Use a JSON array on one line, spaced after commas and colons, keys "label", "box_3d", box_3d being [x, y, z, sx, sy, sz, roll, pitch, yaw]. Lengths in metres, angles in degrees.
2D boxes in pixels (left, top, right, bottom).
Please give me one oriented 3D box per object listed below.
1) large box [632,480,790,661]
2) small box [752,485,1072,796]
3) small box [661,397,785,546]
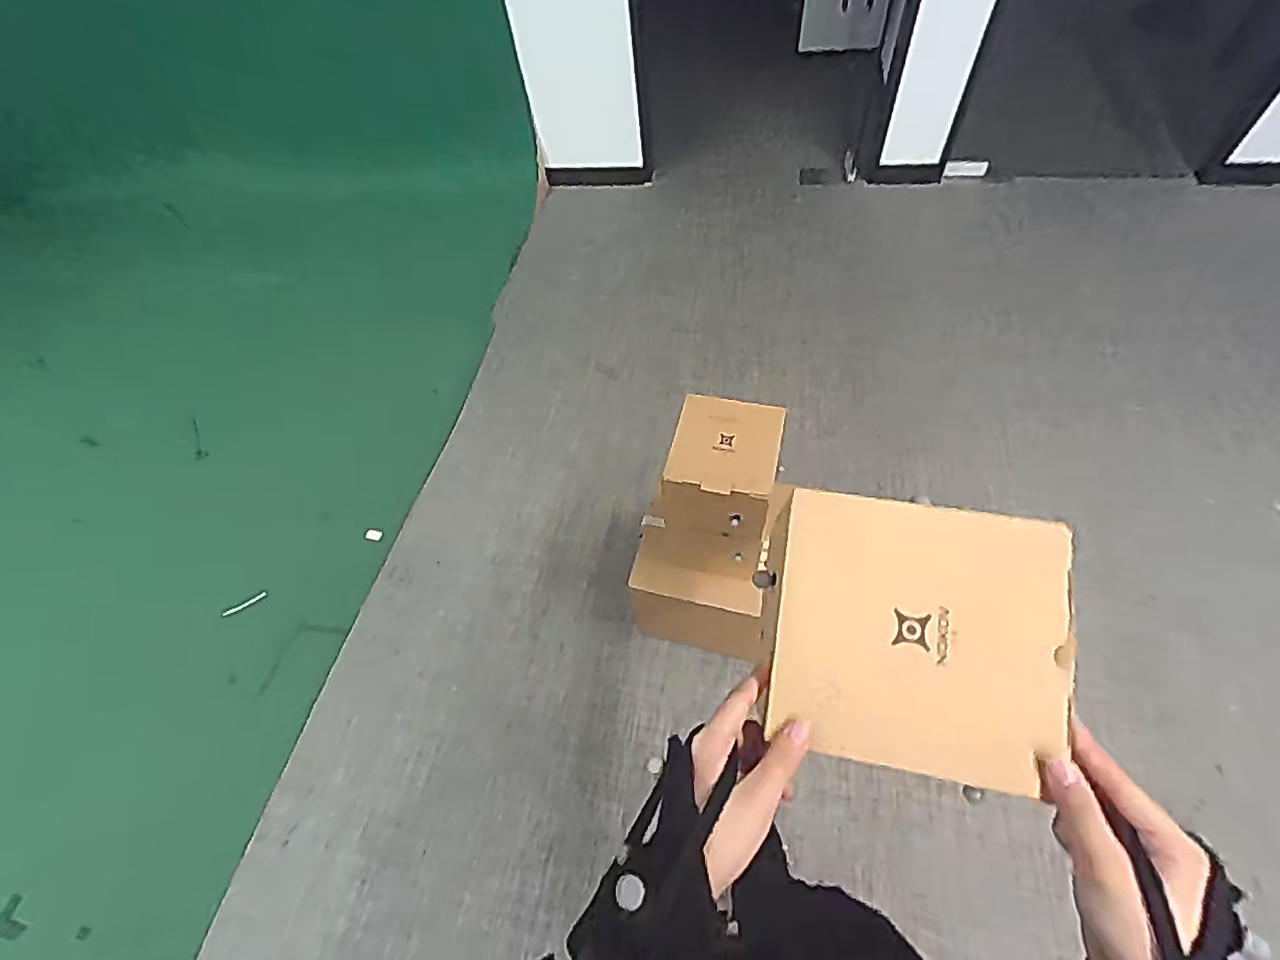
[{"label": "large box", "box_3d": [0.220, 0.209, 1.241, 0.408, 0.320, 0.320, 11, 60, 12]}, {"label": "small box", "box_3d": [0.185, 0.112, 0.416, 0.179, 0.176, 0.168, 8, 77, 9]}, {"label": "small box", "box_3d": [0.138, -0.010, 0.904, 0.168, 0.176, 0.179, 11, 58, 11]}]
